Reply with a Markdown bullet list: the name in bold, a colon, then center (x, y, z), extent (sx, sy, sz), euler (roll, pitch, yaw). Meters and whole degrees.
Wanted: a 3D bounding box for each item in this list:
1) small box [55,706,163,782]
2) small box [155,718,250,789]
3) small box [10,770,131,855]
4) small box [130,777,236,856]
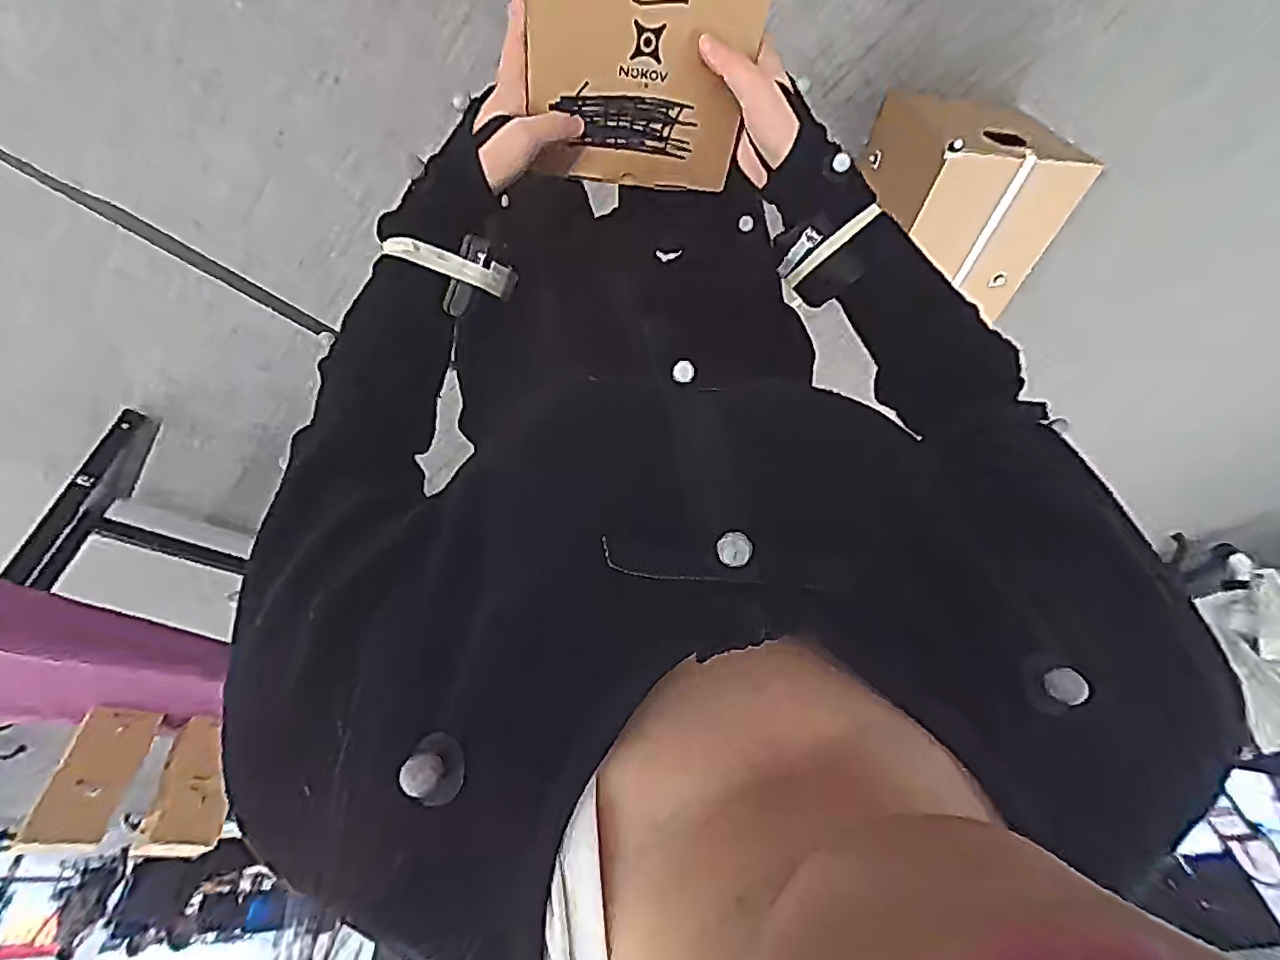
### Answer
- **small box**: center (-1.526, 0.769, 1.555), extent (0.179, 0.176, 0.168), euler (-35, 133, 30)
- **small box**: center (-1.351, 0.855, 1.680), extent (0.179, 0.176, 0.168), euler (-34, 132, 31)
- **small box**: center (-1.521, 0.894, 1.451), extent (0.168, 0.176, 0.179), euler (28, 129, -35)
- **small box**: center (-1.333, 0.988, 1.587), extent (0.179, 0.176, 0.168), euler (-33, 133, 28)
